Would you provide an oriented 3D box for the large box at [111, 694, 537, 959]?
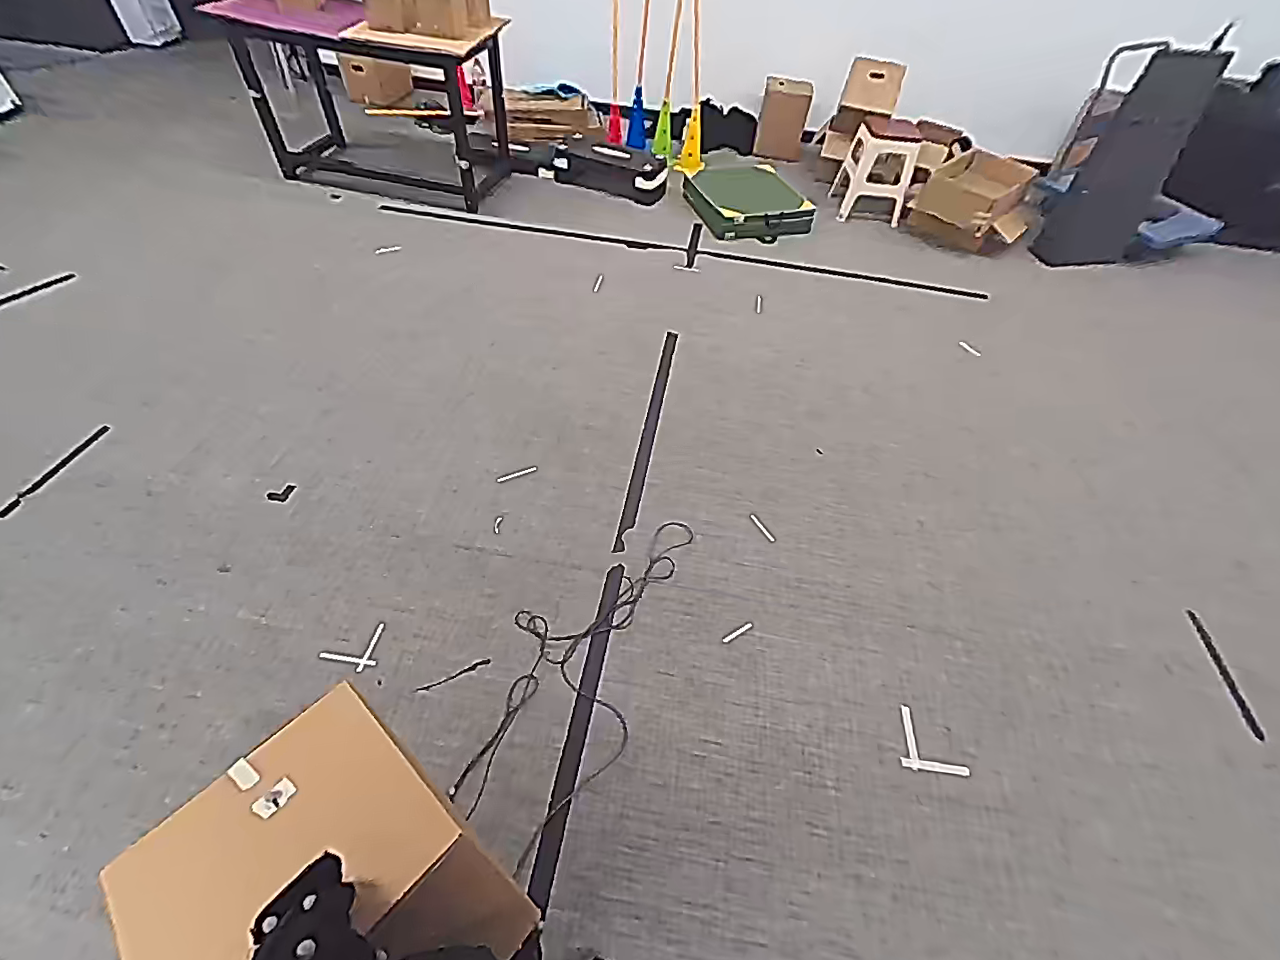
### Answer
[{"bbox_3d":[-0.405,0.591,0.768,0.320,0.408,0.320,28,52,34],"label":"large box"}]
